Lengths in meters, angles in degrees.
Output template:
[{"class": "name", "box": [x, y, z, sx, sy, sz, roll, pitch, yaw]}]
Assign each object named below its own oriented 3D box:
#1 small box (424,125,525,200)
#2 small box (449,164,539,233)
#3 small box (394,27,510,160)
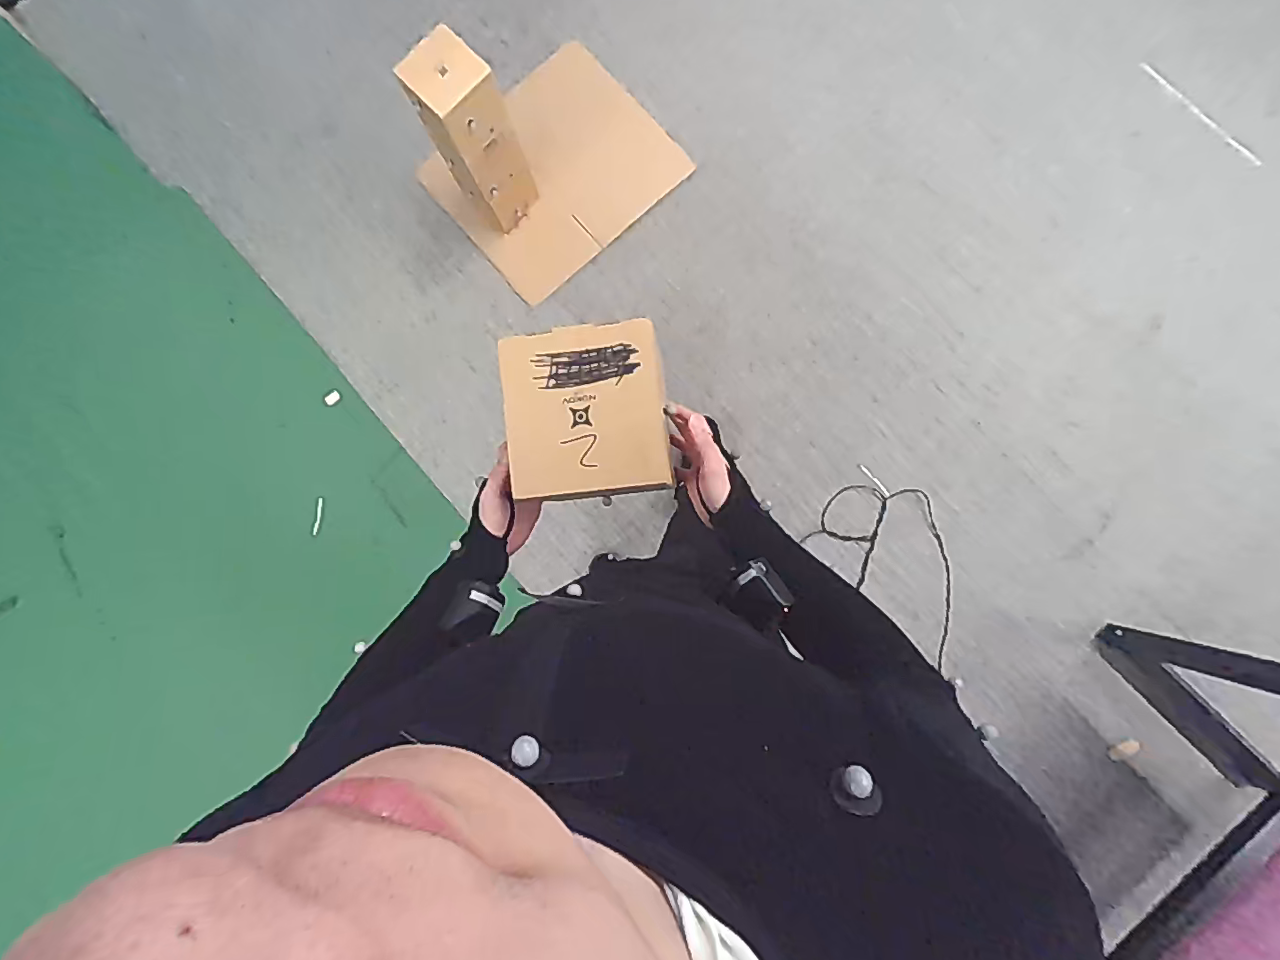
[{"class": "small box", "box": [-0.443, -0.907, 1.478, 0.179, 0.176, 0.168, 45, 89, 6]}, {"class": "small box", "box": [-0.436, -0.893, 1.641, 0.179, 0.176, 0.168, 42, 88, 4]}, {"class": "small box", "box": [-0.448, -0.924, 1.318, 0.168, 0.176, 0.179, -45, 84, -1]}]
